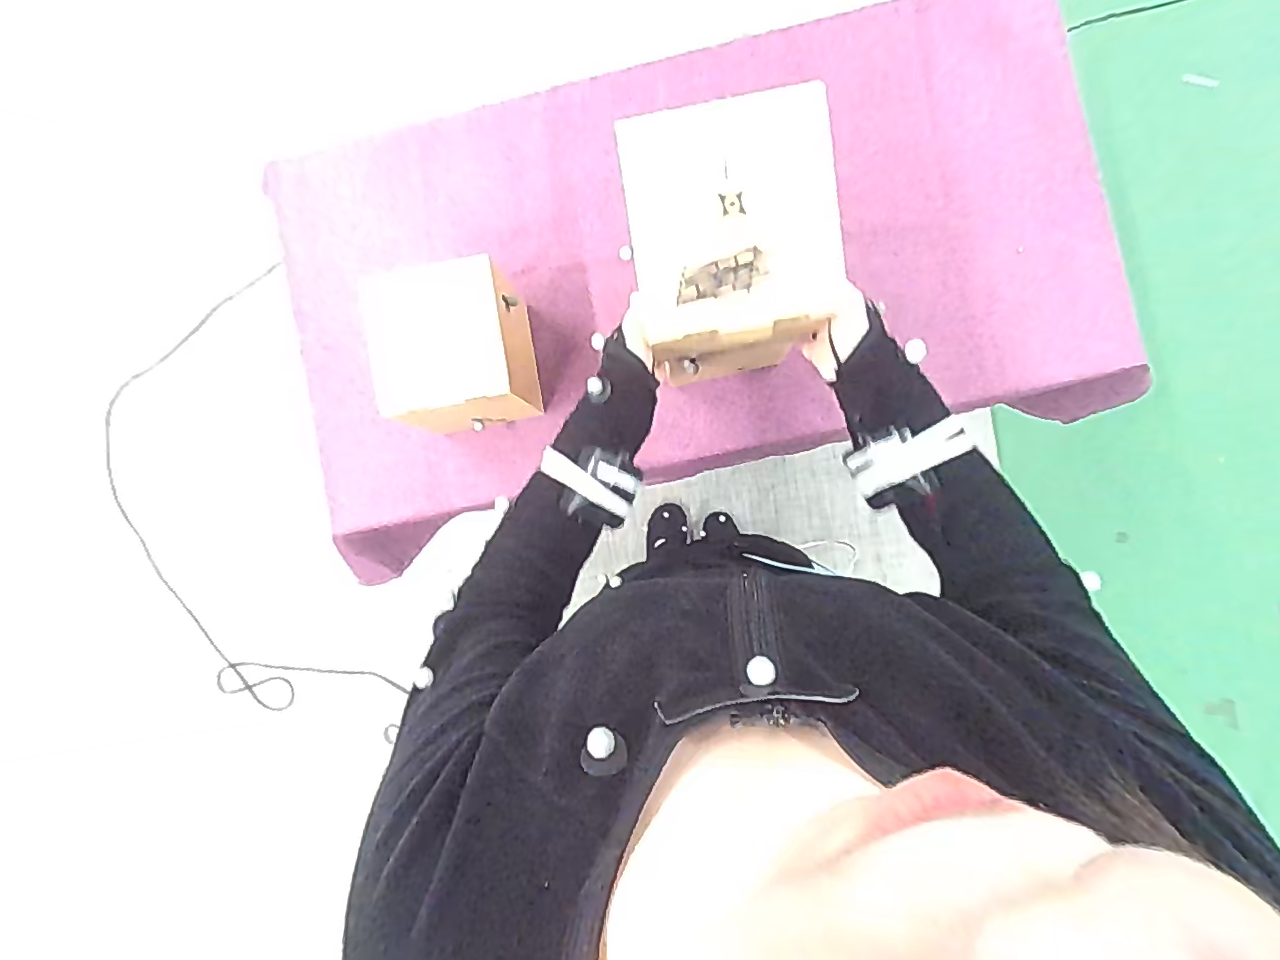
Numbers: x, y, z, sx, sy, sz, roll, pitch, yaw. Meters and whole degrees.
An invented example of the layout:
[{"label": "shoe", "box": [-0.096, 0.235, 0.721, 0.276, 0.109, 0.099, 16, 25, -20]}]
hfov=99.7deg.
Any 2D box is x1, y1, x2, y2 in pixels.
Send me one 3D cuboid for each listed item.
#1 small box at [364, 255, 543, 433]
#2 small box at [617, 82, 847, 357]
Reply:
[{"label": "small box", "box": [-0.242, -0.172, 0.736, 0.168, 0.176, 0.179, -10, 87, 4]}, {"label": "small box", "box": [0.080, -0.216, 0.505, 0.168, 0.176, 0.179, -8, 95, 5]}]
